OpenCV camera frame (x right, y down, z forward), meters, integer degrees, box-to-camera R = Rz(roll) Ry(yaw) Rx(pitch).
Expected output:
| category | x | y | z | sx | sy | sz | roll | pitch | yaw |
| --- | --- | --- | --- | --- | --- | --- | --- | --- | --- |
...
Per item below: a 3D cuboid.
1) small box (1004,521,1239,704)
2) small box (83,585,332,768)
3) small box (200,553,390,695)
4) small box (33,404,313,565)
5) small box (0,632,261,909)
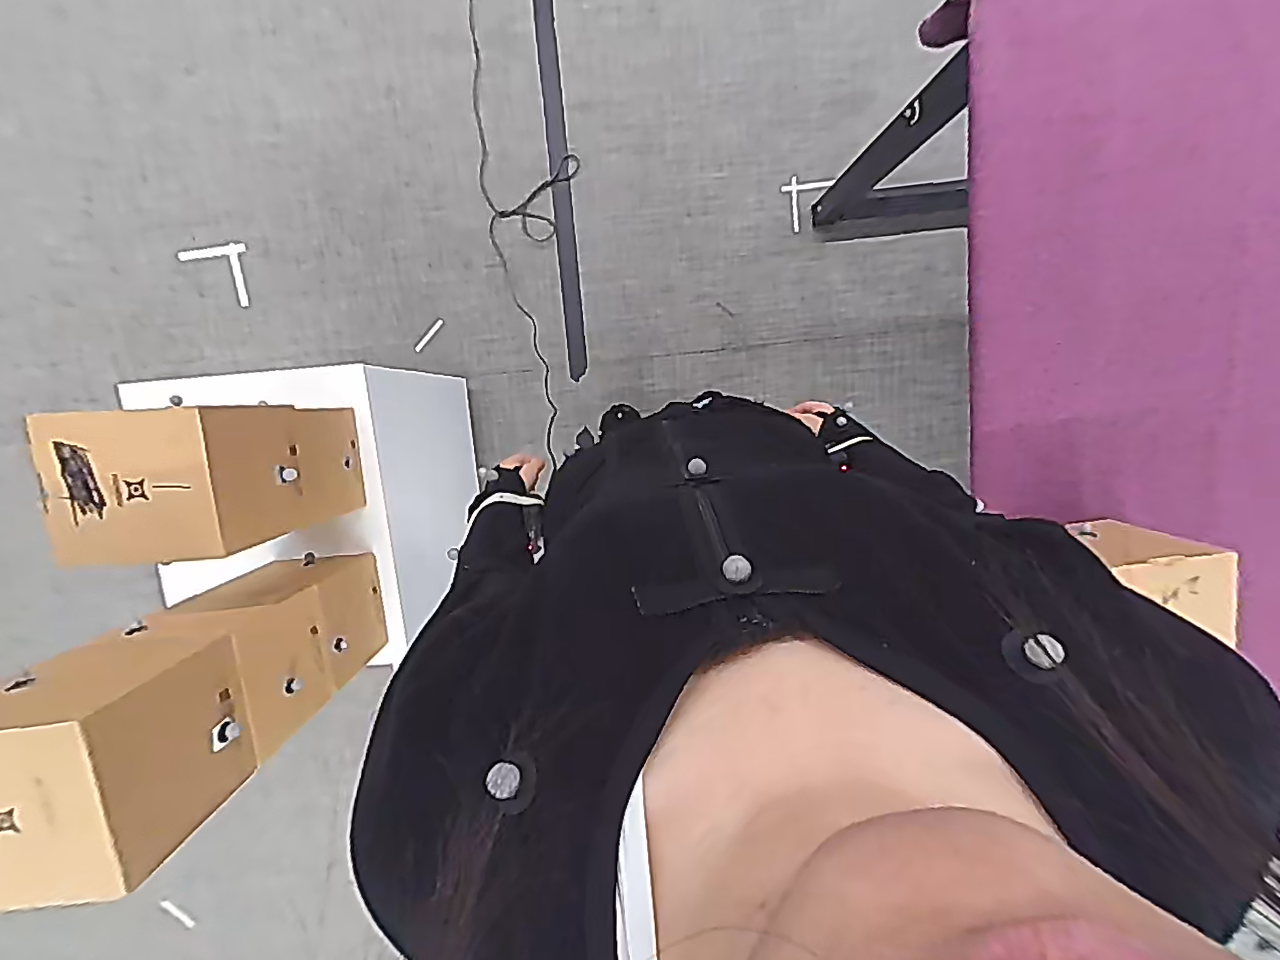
| category | x | y | z | sx | sy | sz | roll | pitch | yaw |
| --- | --- | --- | --- | --- | --- | --- | --- | --- | --- |
| small box | 0.614 | 0.163 | 0.713 | 0.168 | 0.176 | 0.179 | -7 | 98 | -1 |
| small box | -0.518 | 0.241 | 0.680 | 0.179 | 0.176 | 0.168 | -6 | 98 | 1 |
| small box | -0.522 | 0.218 | 0.841 | 0.179 | 0.176 | 0.168 | -4 | 99 | 1 |
| small box | -0.531 | -0.004 | 0.642 | 0.179 | 0.176 | 0.168 | -3 | 99 | -2 |
| small box | -0.518 | 0.263 | 0.519 | 0.179 | 0.176 | 0.168 | -6 | 99 | 0 |
